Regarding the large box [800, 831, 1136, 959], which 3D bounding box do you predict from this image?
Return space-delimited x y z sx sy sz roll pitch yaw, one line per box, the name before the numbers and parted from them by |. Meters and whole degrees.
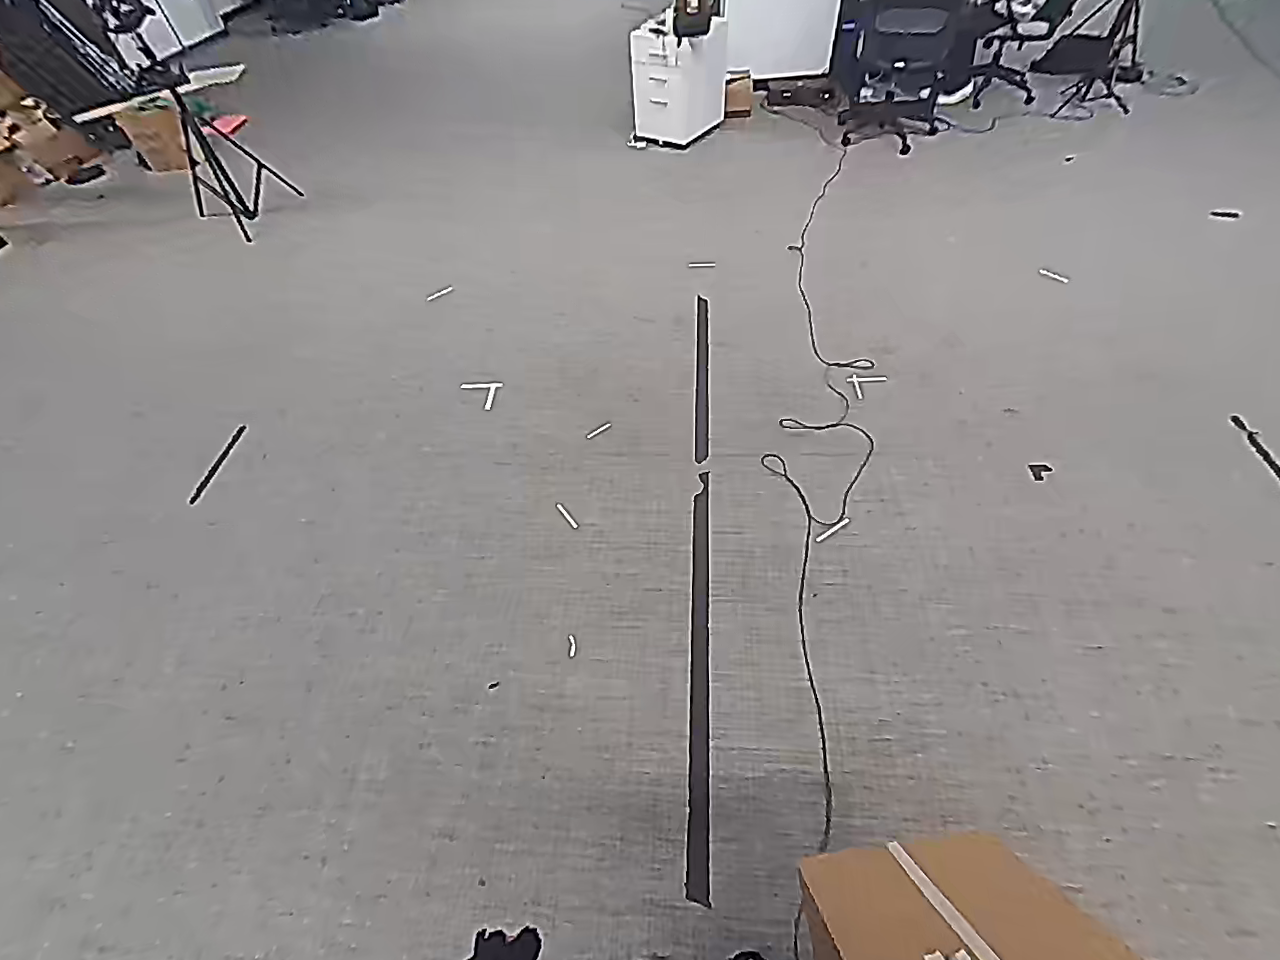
large box | 0.428 0.716 0.662 0.320 0.408 0.320 -10 83 0
